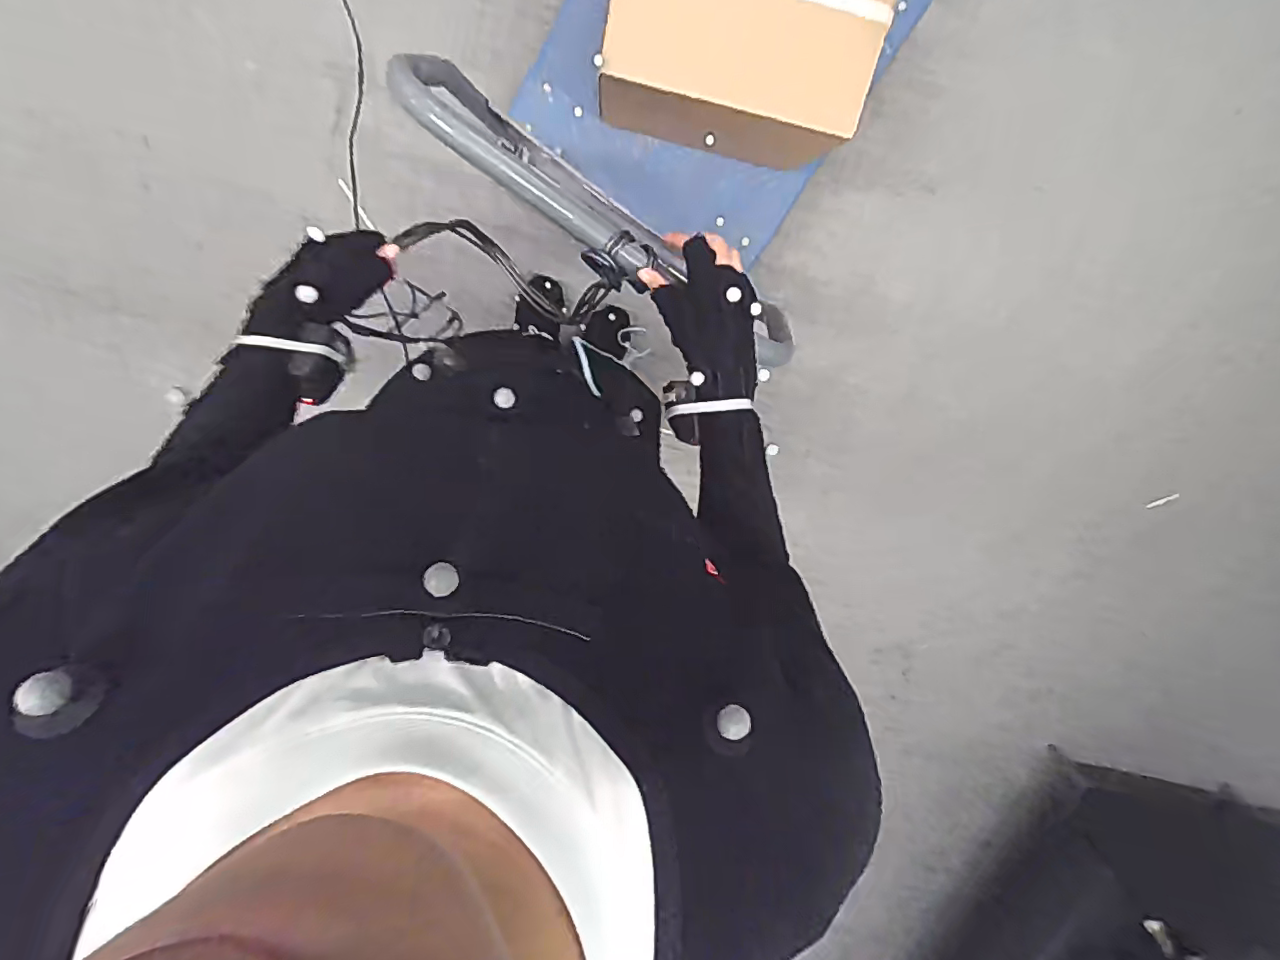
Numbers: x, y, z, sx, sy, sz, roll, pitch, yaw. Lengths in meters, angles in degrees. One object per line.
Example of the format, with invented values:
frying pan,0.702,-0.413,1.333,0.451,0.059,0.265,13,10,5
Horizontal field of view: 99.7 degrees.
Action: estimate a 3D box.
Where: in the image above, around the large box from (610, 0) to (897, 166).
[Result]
large box,0.173,-0.766,0.918,0.408,0.320,0.320,10,110,-7
